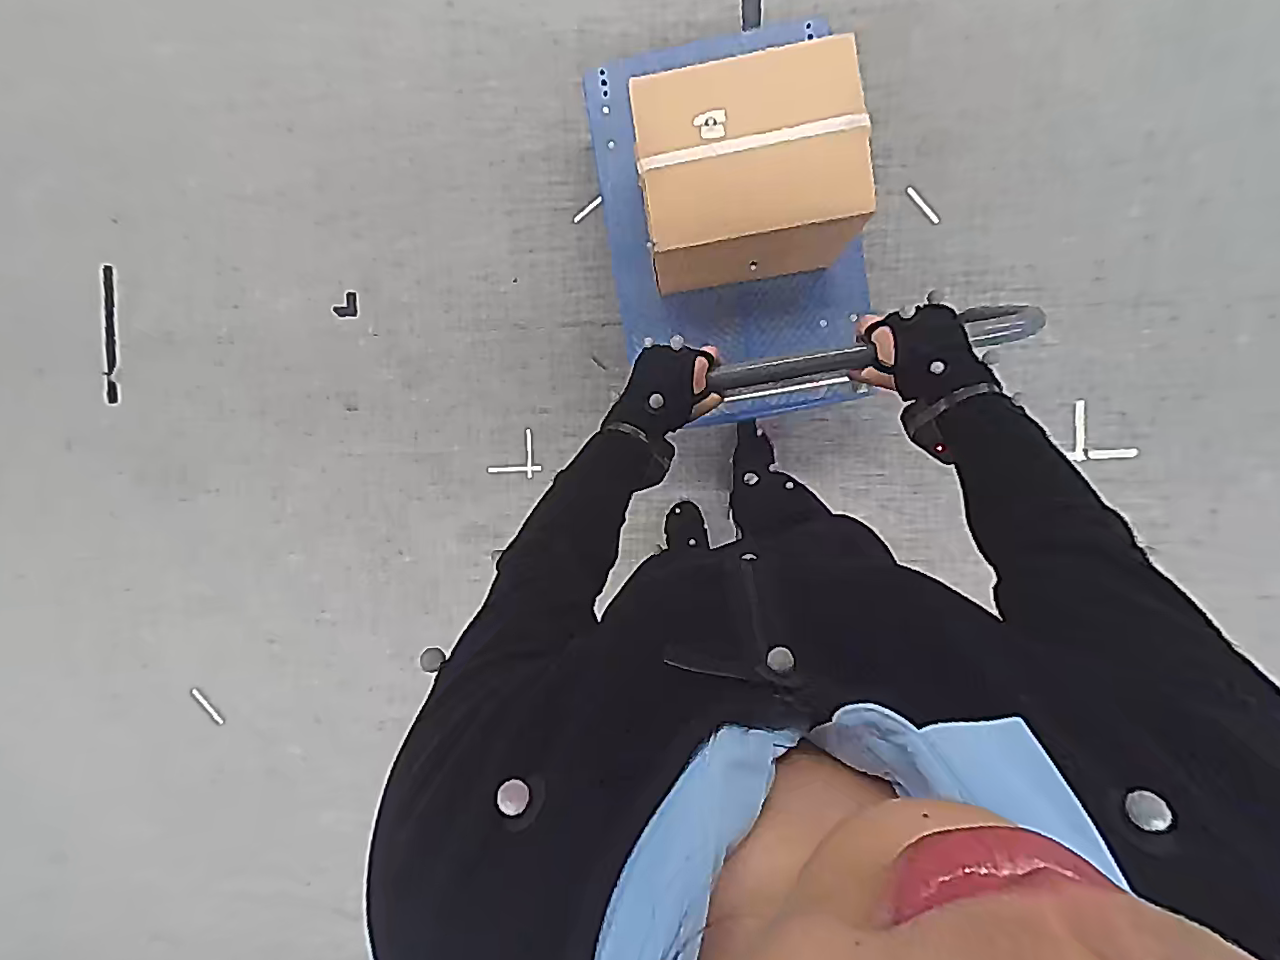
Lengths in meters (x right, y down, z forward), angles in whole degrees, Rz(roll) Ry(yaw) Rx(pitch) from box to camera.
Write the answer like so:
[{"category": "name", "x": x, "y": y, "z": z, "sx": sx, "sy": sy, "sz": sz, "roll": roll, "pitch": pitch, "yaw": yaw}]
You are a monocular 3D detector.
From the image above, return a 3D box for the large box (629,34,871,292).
[{"category": "large box", "x": 0.214, "y": -0.619, "z": 1.131, "sx": 0.408, "sy": 0.320, "sz": 0.320, "roll": -9, "pitch": 92, "yaw": 6}]
